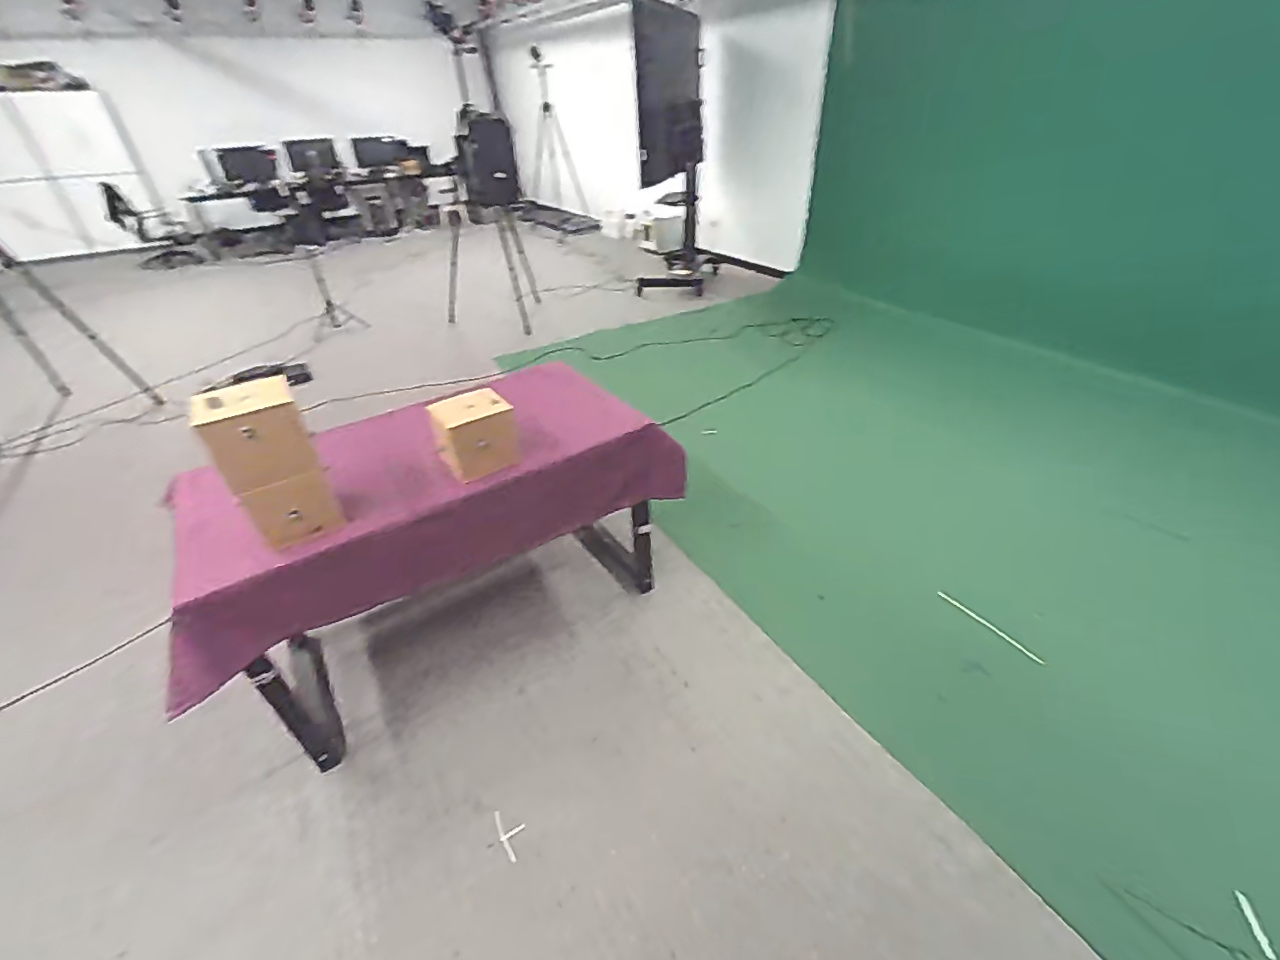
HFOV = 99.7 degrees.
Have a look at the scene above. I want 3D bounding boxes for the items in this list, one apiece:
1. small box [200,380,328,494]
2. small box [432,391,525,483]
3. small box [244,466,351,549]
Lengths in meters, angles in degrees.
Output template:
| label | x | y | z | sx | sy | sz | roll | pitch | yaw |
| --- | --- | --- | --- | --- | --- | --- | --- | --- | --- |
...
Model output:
| label | x | y | z | sx | sy | sz | roll | pitch | yaw |
| --- | --- | --- | --- | --- | --- | --- | --- | --- | --- |
| small box | -0.812 | -0.093 | 1.174 | 0.179 | 0.176 | 0.168 | -23 | 40 | -27 |
| small box | -0.431 | -0.116 | 1.461 | 0.179 | 0.176 | 0.168 | -25 | 41 | -26 |
| small box | -0.804 | 0.041 | 1.269 | 0.168 | 0.176 | 0.179 | -23 | 39 | -27 |
